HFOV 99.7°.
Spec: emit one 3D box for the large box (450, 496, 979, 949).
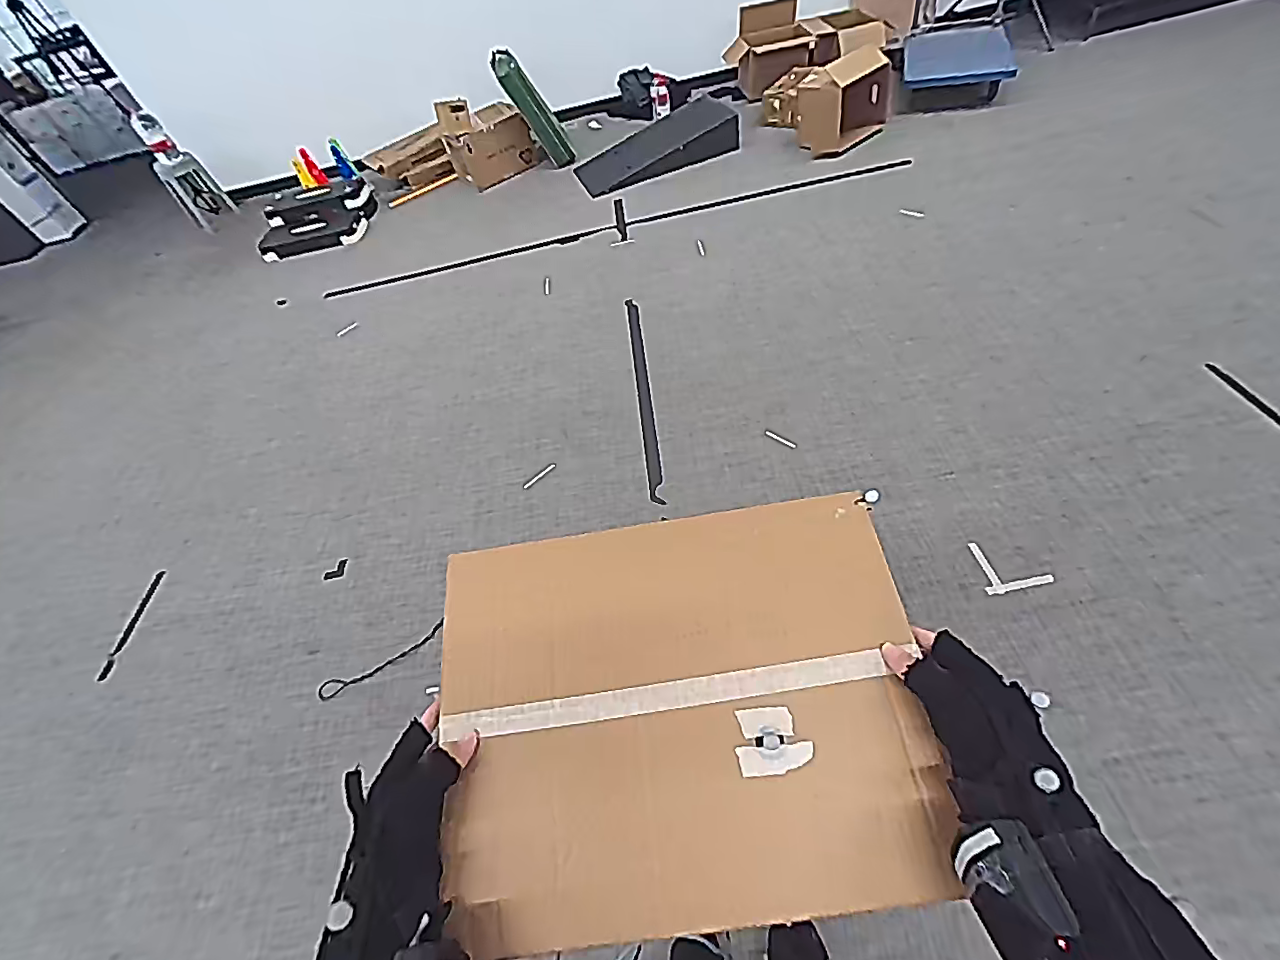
[{"bbox_3d":[0.046,0.250,0.596,0.408,0.320,0.320,-9,62,1],"label":"large box"}]
